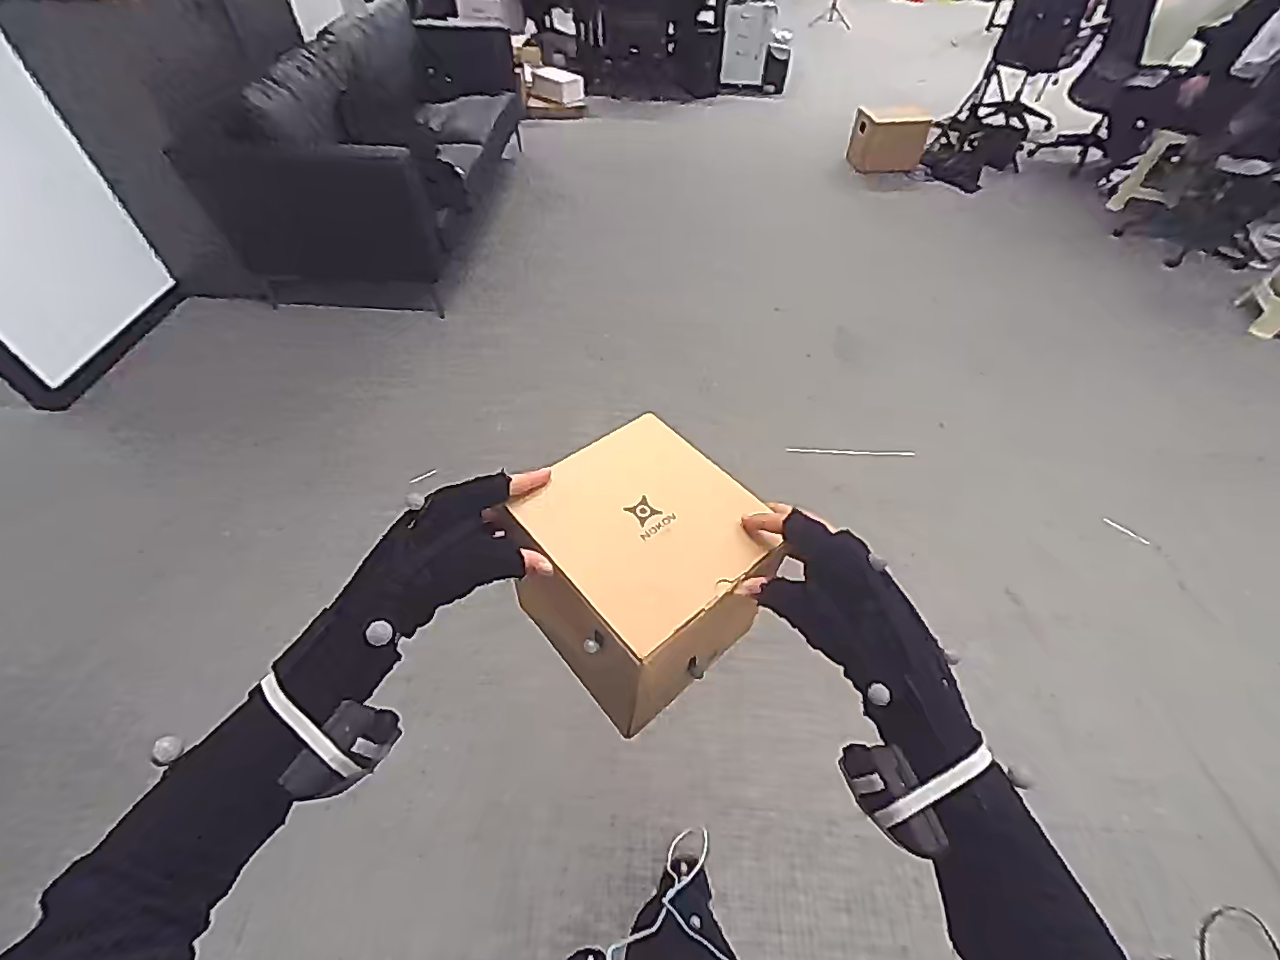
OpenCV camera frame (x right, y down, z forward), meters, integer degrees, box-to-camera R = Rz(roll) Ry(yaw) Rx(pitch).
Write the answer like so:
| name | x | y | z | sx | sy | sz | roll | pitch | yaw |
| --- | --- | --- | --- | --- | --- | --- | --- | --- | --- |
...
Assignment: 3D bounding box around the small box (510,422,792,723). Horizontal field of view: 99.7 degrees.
| name | x | y | z | sx | sy | sz | roll | pitch | yaw |
| --- | --- | --- | --- | --- | --- | --- | --- | --- | --- |
| small box | 0.000 | 0.084 | 0.497 | 0.168 | 0.176 | 0.179 | -31 | 60 | -28 |
